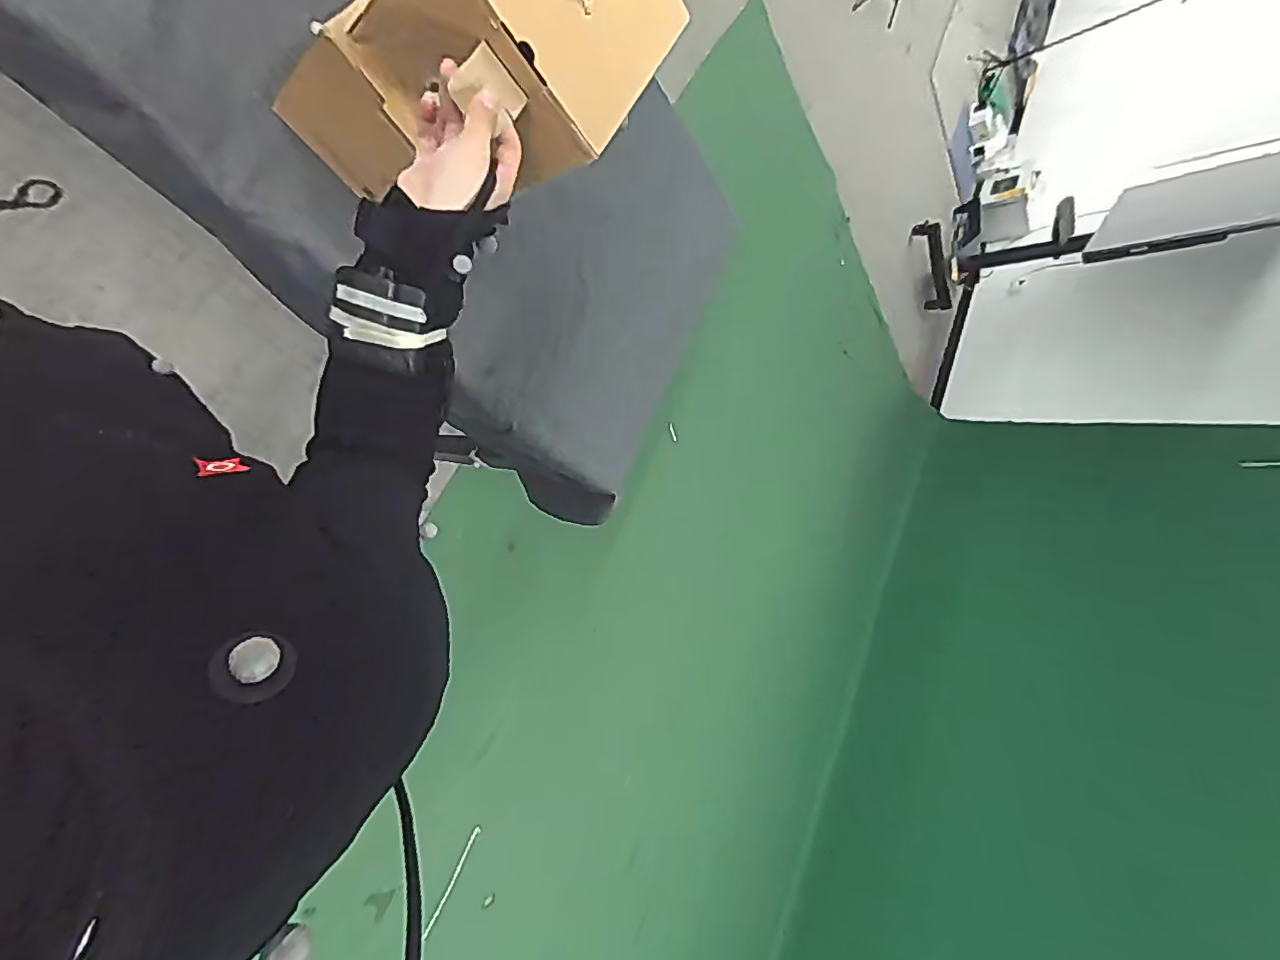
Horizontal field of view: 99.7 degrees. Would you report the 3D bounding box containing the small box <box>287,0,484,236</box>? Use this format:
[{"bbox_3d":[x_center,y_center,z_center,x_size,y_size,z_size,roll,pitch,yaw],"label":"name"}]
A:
[{"bbox_3d":[-0.228,-0.387,0.561,0.168,0.176,0.179,46,62,-40],"label":"small box"}]

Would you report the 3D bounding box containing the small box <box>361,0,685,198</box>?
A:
[{"bbox_3d":[-0.098,-0.377,0.455,0.168,0.176,0.179,41,71,-41],"label":"small box"}]
